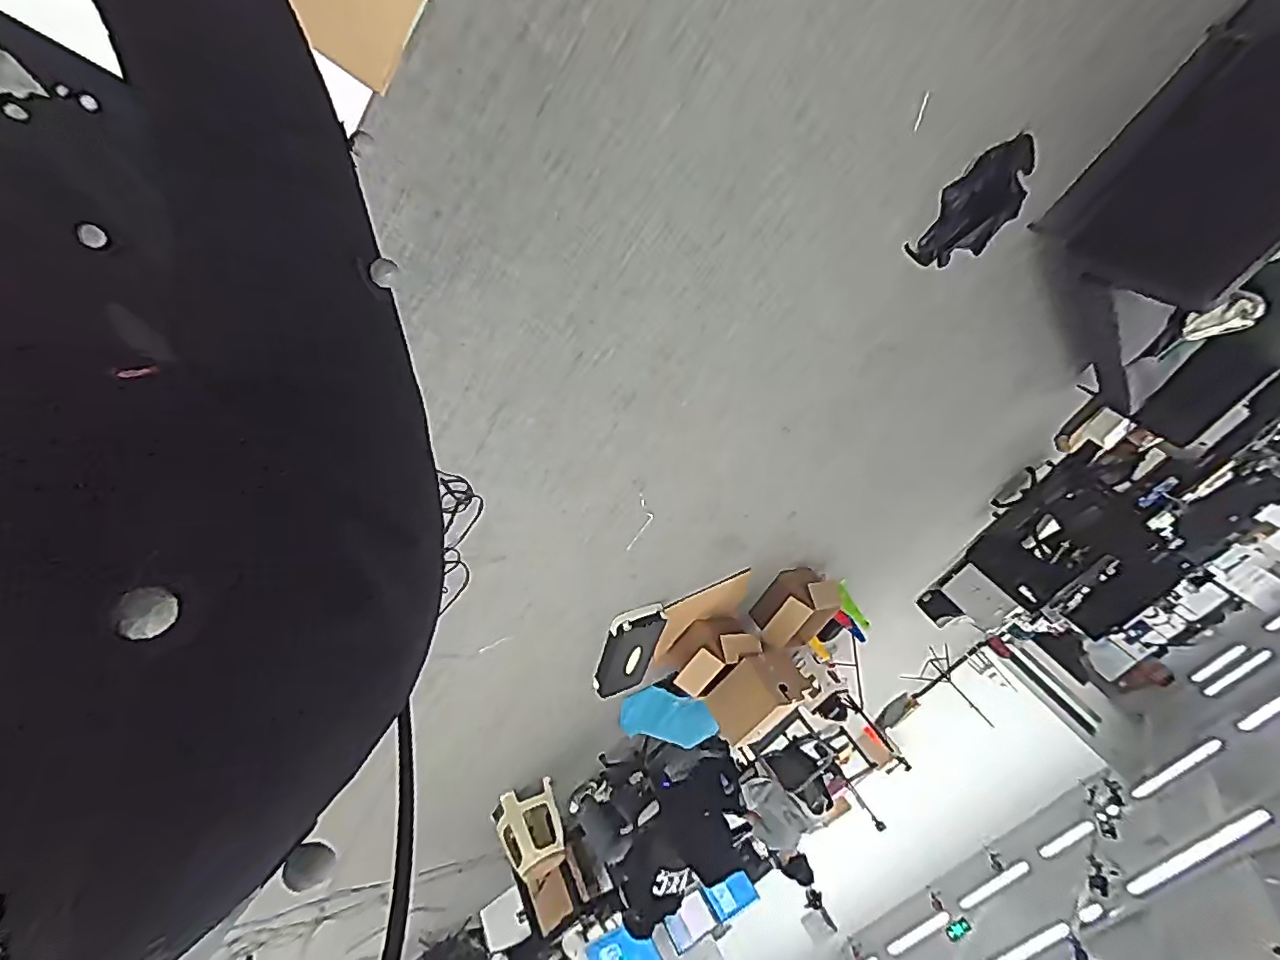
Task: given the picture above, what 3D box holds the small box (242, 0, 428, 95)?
[{"bbox_3d":[-0.234,-0.404,0.354,0.179,0.176,0.168,16,120,-46],"label":"small box"}]
